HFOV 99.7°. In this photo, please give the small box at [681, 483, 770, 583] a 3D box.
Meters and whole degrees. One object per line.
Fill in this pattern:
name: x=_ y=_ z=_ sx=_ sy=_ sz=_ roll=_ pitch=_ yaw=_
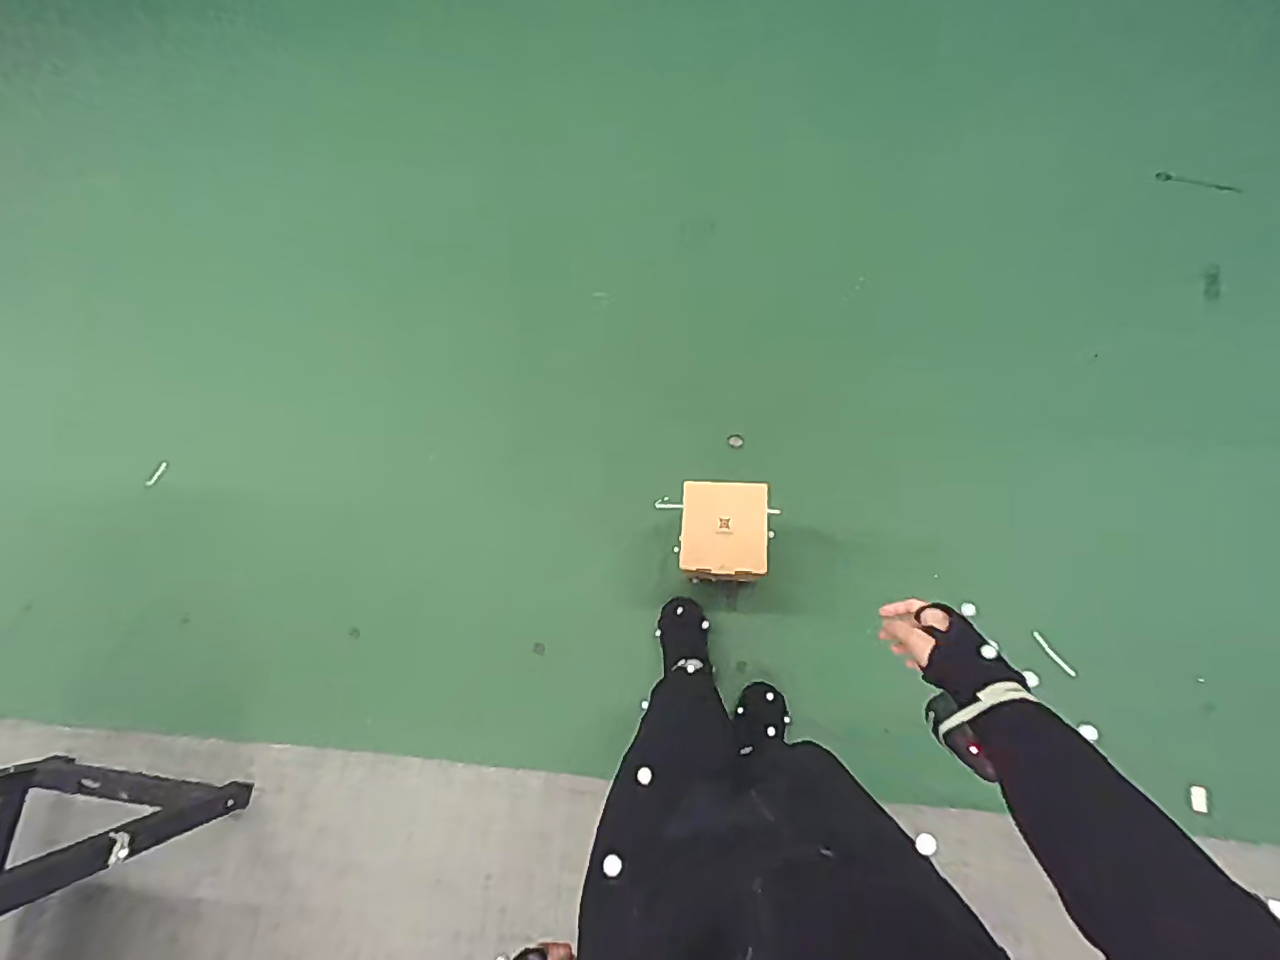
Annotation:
small box: x=0.171 y=0.114 z=1.114 sx=0.168 sy=0.176 sz=0.179 roll=3 pitch=77 yaw=6
